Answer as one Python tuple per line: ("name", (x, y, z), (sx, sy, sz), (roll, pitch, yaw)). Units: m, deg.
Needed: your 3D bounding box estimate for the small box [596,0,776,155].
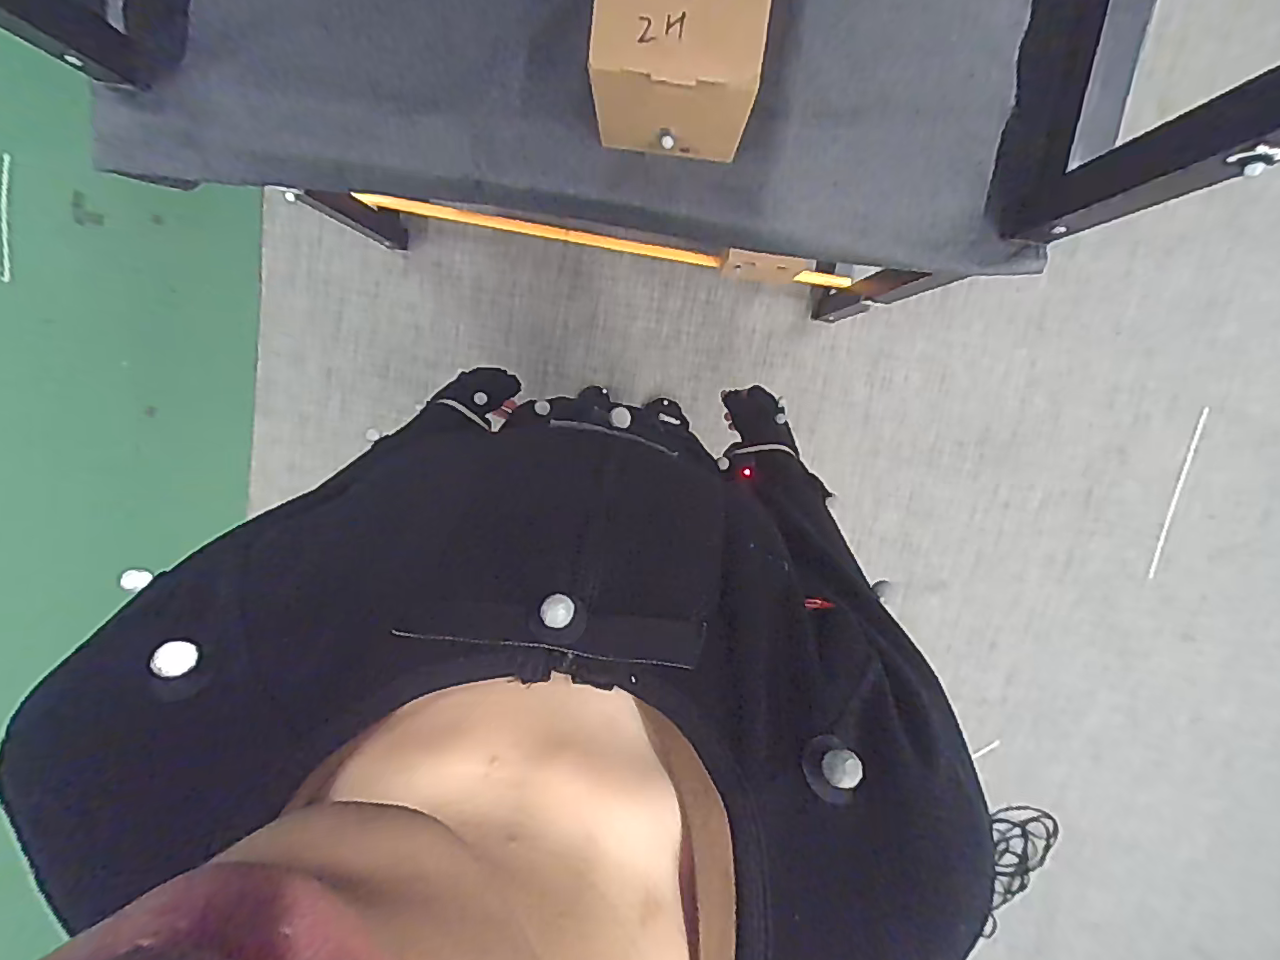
("small box", (0.048, -0.488, 0.581), (0.168, 0.176, 0.179), (7, 99, 0))
